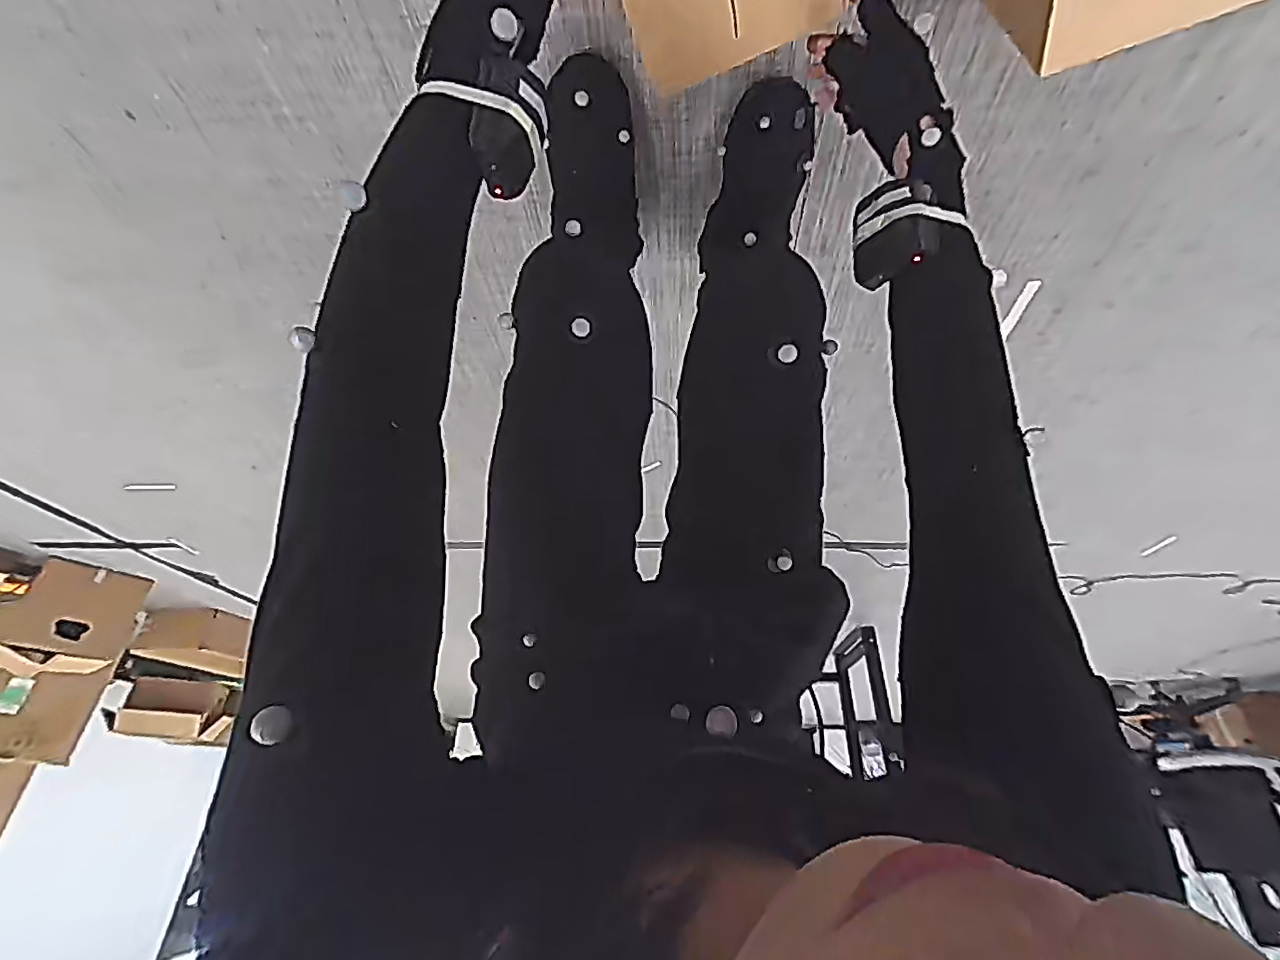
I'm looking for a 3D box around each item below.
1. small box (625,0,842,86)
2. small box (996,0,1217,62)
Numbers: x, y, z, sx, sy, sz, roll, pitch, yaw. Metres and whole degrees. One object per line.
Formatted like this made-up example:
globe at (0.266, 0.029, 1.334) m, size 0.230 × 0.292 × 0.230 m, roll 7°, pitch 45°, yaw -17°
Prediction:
small box at (0.057, -0.478, 0.434) m, size 0.168 × 0.176 × 0.179 m, roll -11°, pitch 147°, yaw 21°
small box at (0.397, -0.483, 0.416) m, size 0.179 × 0.176 × 0.168 m, roll -11°, pitch 146°, yaw 20°
